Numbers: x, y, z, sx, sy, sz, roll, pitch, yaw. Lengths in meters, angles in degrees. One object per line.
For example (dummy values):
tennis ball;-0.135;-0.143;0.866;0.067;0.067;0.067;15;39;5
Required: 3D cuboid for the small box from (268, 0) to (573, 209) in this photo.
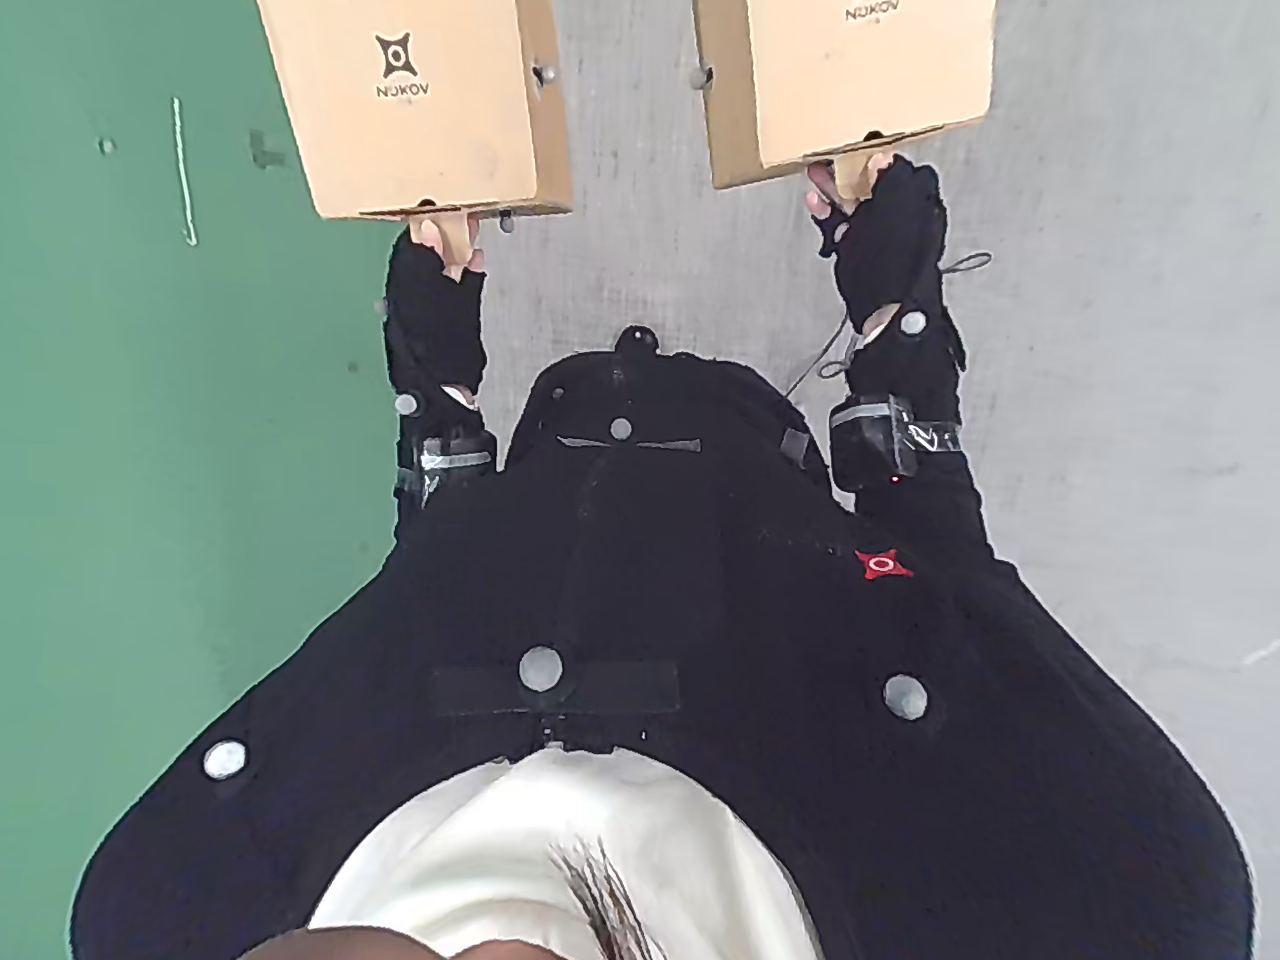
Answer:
small box;-0.152;-0.316;0.427;0.168;0.176;0.179;-3;113;3
